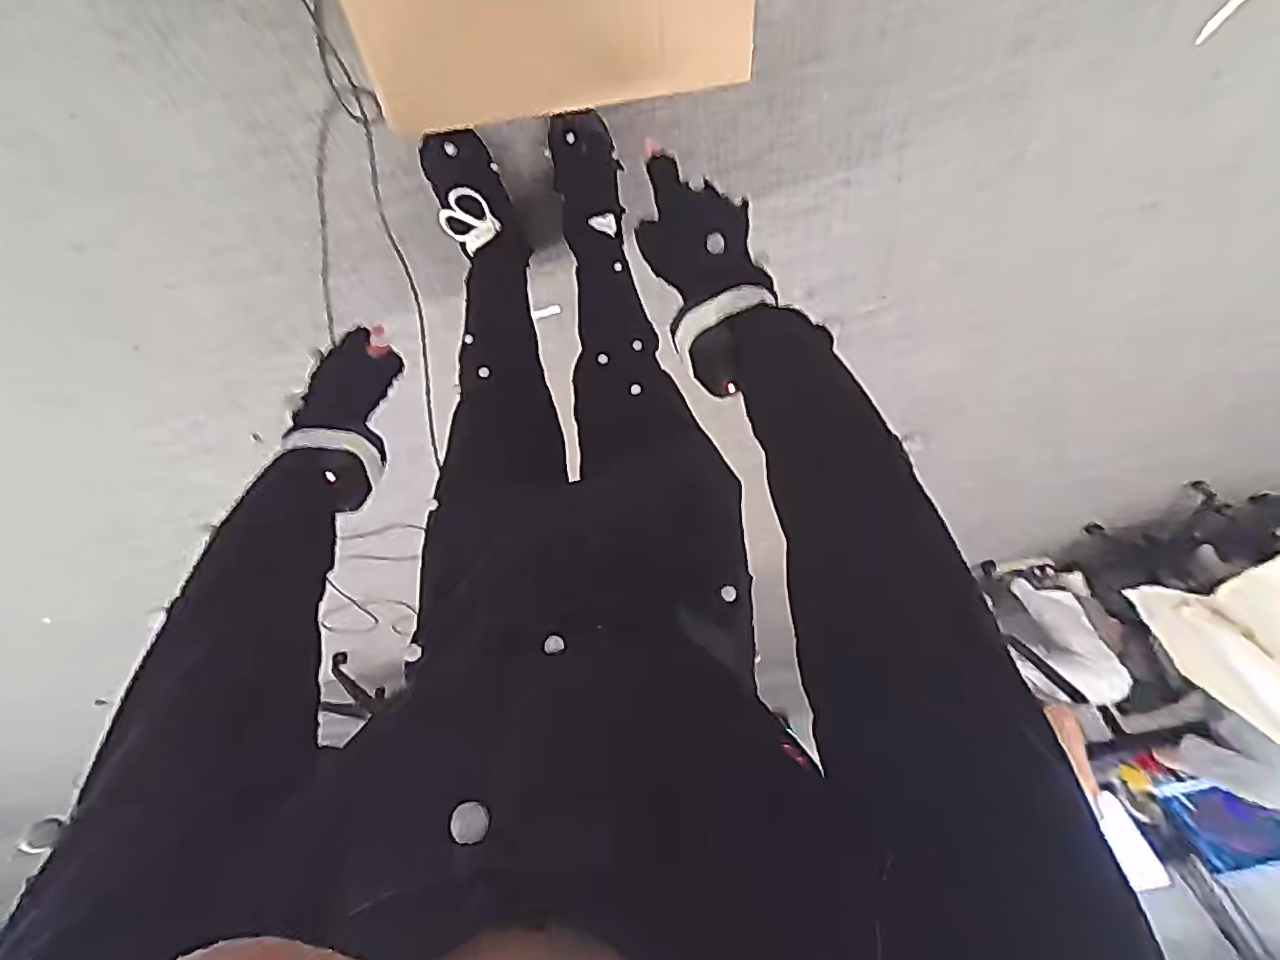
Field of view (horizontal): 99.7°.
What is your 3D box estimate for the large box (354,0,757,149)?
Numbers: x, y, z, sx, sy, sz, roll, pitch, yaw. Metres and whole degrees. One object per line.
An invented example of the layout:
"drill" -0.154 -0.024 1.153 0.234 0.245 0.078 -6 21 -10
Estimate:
"large box" -0.105 -0.618 0.595 0.408 0.320 0.320 -10 141 -2
